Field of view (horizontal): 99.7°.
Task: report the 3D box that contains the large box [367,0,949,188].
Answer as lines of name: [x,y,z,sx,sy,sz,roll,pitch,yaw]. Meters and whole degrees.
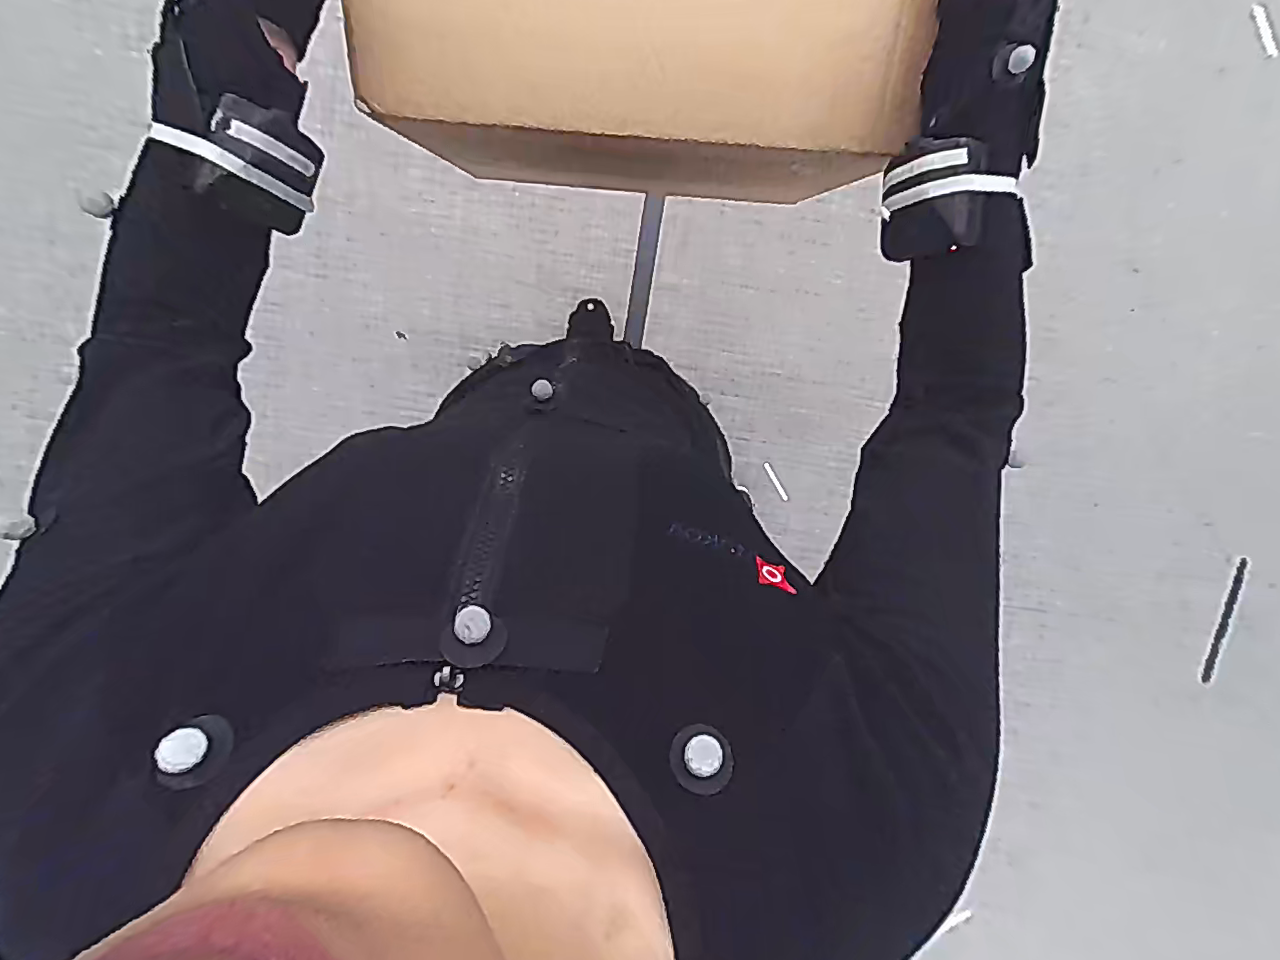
large box: [0.012,-0.456,0.473,0.408,0.320,0.320,2,113,-4]
